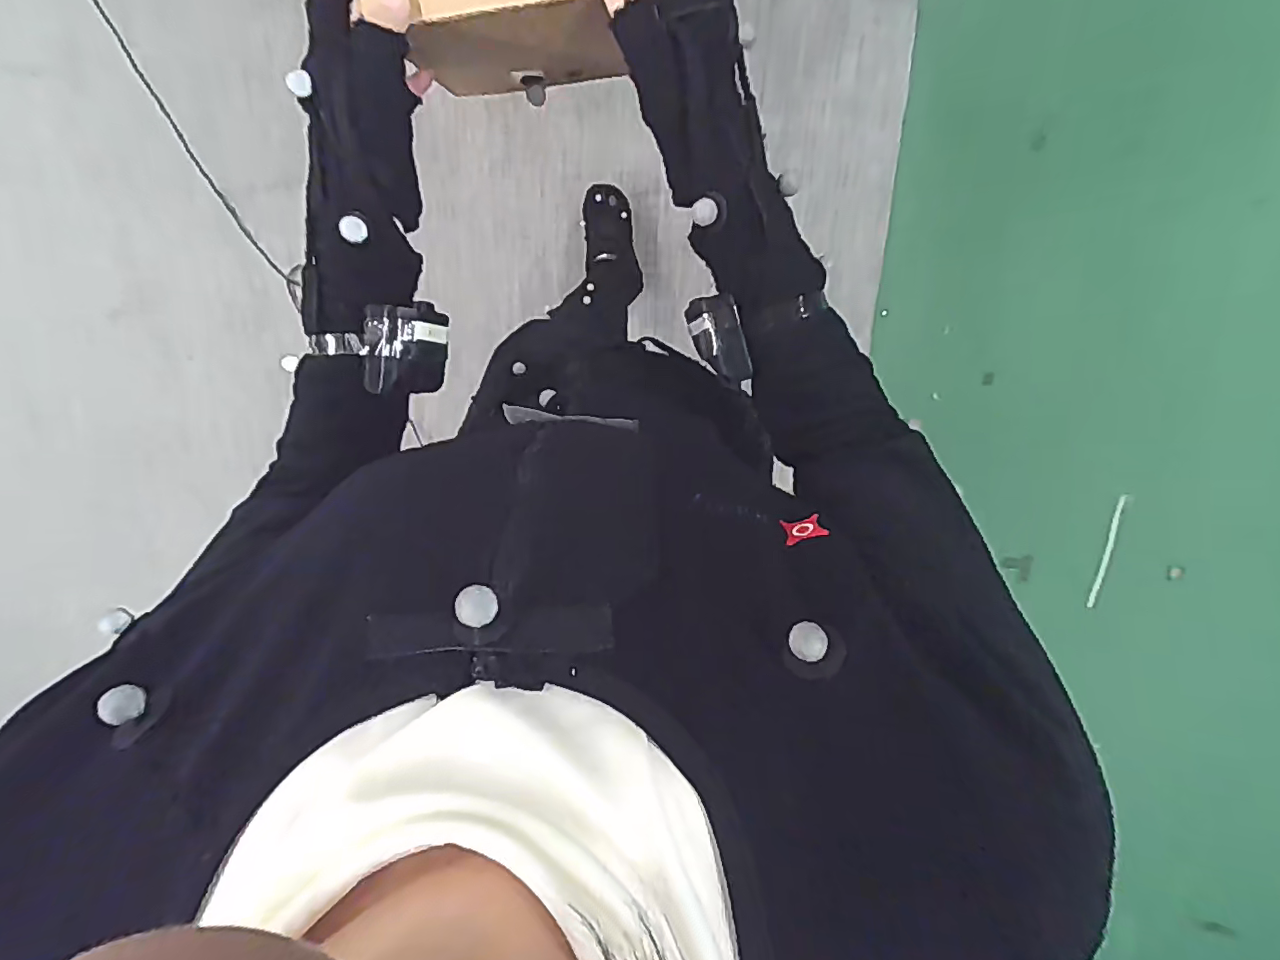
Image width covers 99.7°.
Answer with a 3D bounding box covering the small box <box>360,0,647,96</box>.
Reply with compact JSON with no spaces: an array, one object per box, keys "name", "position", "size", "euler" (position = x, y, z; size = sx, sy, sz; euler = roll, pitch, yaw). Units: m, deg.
[{"name":"small box","position":[-0.085,-0.382,0.349],"size":[0.168,0.176,0.179],"euler":[-5,113,4]}]
